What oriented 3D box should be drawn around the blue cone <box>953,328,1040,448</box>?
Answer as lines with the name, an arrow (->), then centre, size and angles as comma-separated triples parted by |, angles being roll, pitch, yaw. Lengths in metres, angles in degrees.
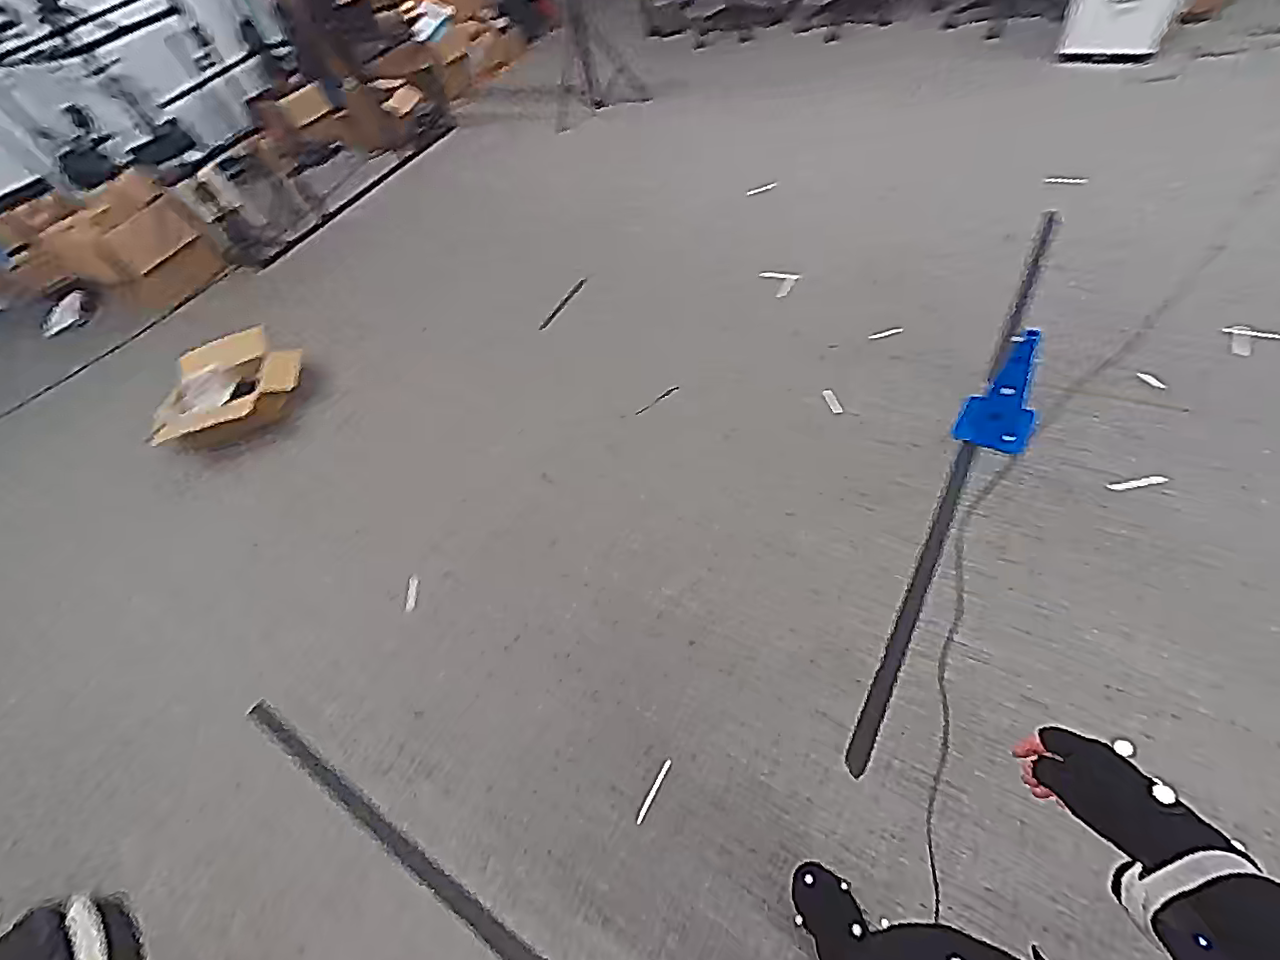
blue cone -> 1.069, -0.285, 1.563 | 0.193, 0.380, 0.192 | 23, 62, 28
